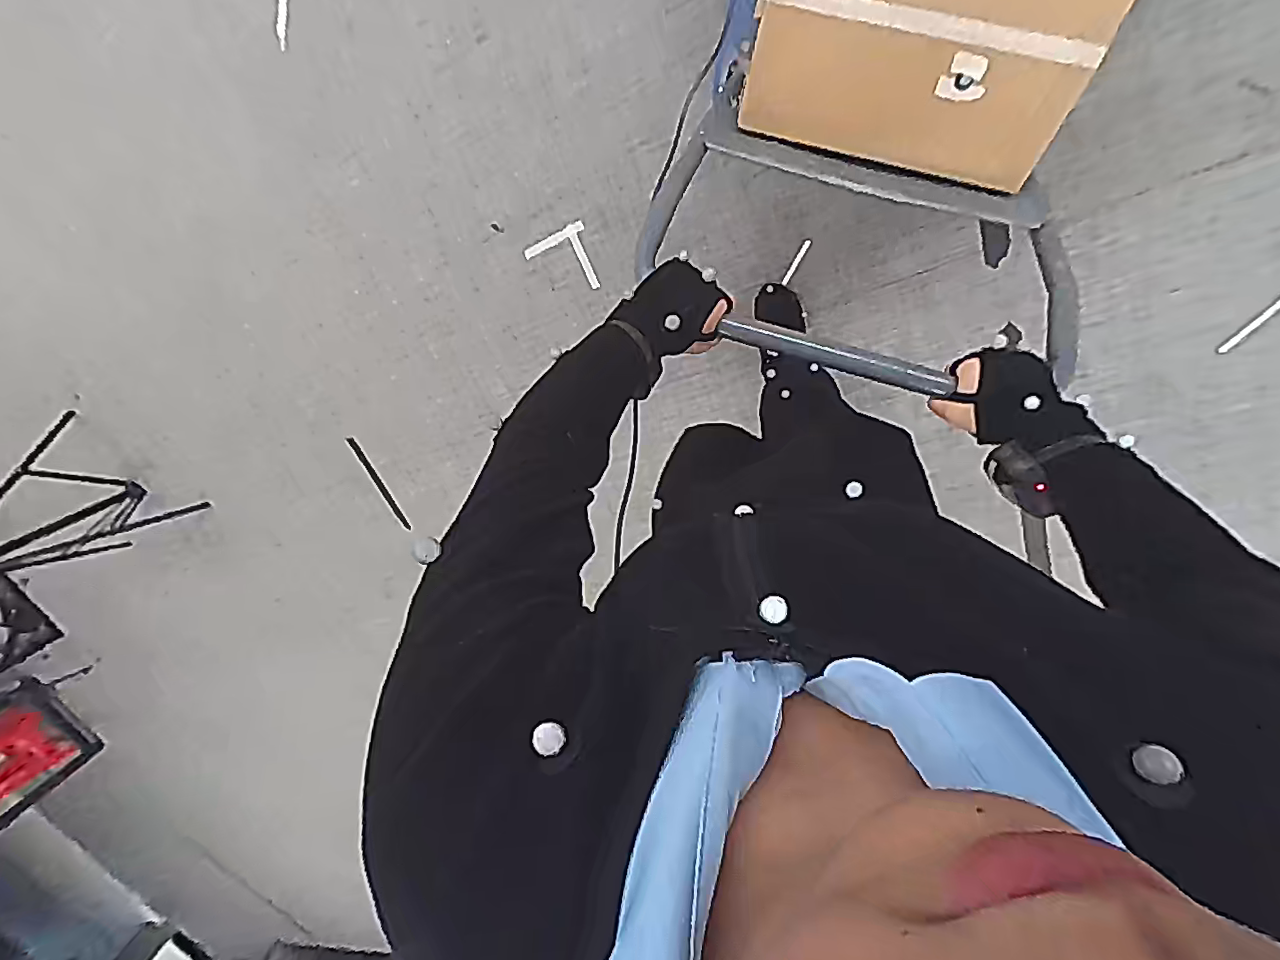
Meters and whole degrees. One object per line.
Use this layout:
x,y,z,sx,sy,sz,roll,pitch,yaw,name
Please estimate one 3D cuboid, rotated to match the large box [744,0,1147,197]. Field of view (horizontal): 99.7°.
0.391,-0.644,0.743,0.408,0.320,0.320,17,139,5,large box
